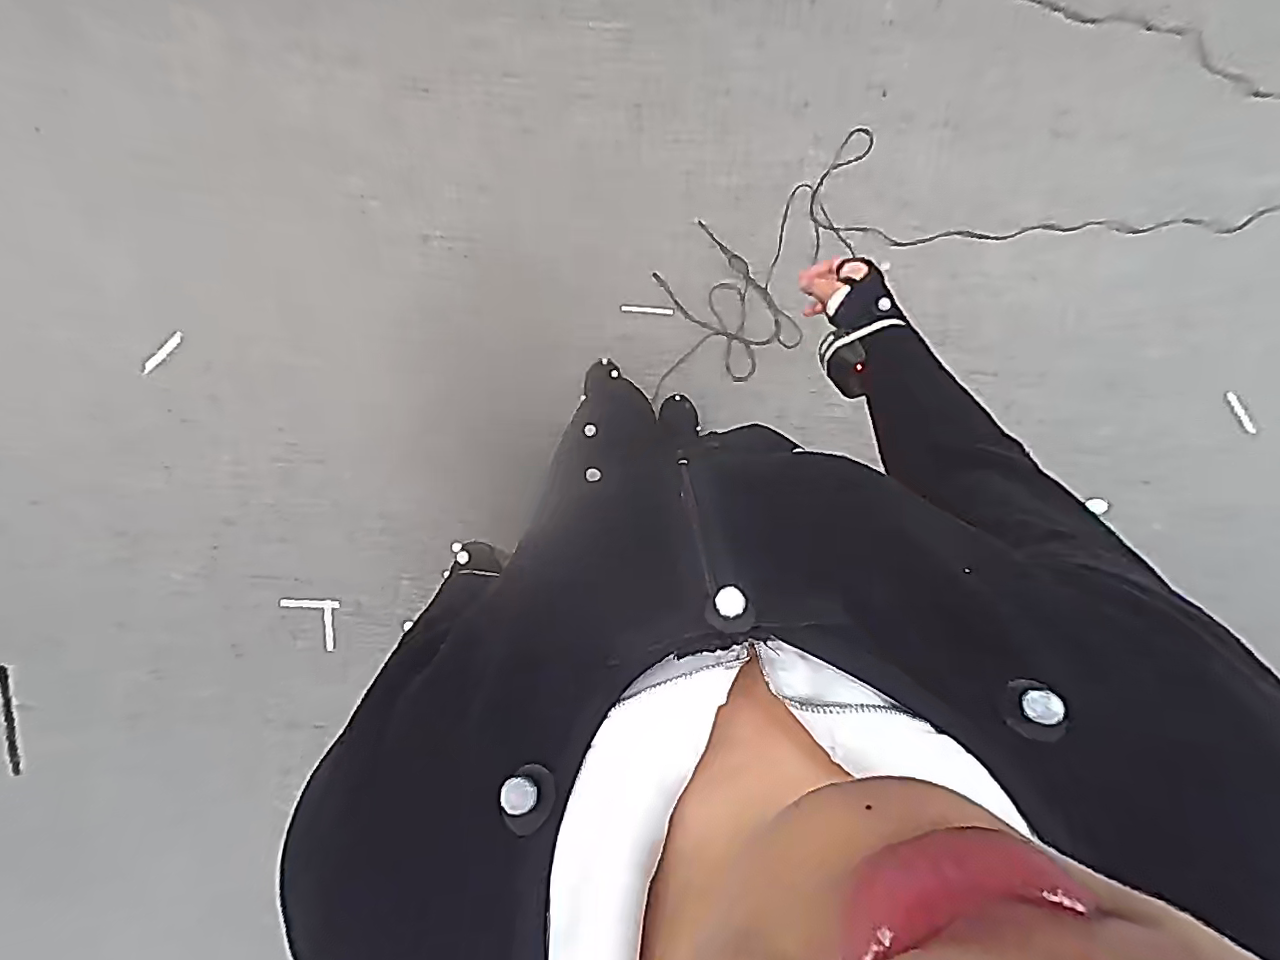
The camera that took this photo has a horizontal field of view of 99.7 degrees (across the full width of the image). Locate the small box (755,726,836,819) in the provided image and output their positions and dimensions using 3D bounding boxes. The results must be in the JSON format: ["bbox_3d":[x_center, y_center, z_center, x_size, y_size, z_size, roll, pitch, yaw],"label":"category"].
[{"bbox_3d":[0.437,0.827,1.542,0.179,0.176,0.168,3,99,2],"label":"small box"}]
